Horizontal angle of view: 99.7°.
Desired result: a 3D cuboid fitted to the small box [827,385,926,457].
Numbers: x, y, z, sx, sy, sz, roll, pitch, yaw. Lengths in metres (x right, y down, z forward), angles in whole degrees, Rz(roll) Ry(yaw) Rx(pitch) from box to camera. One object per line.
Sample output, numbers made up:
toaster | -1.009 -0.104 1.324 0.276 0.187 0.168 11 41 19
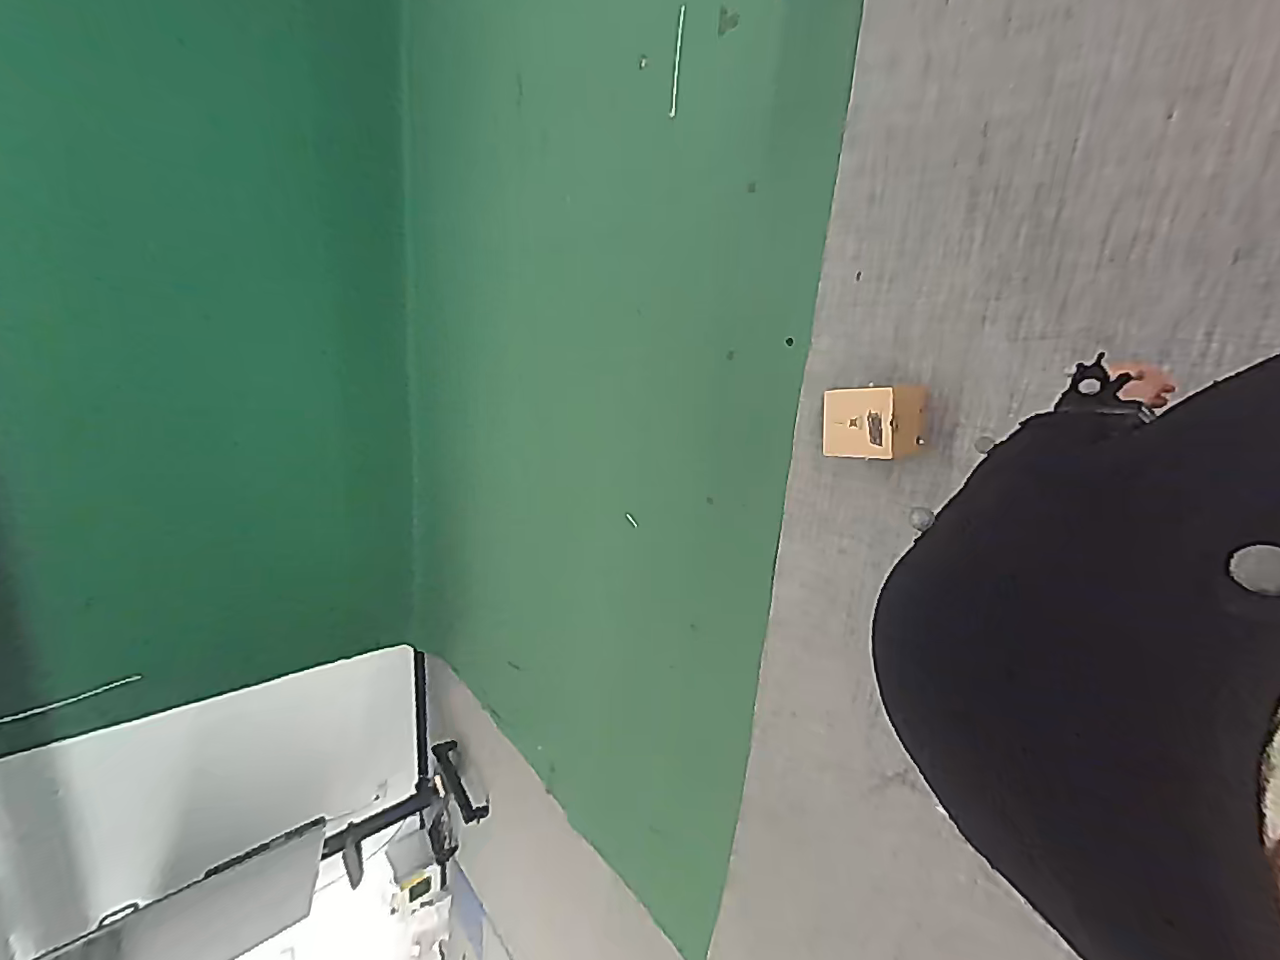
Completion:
small box | 0.586 -0.148 1.336 0.179 0.176 0.168 7 101 49
